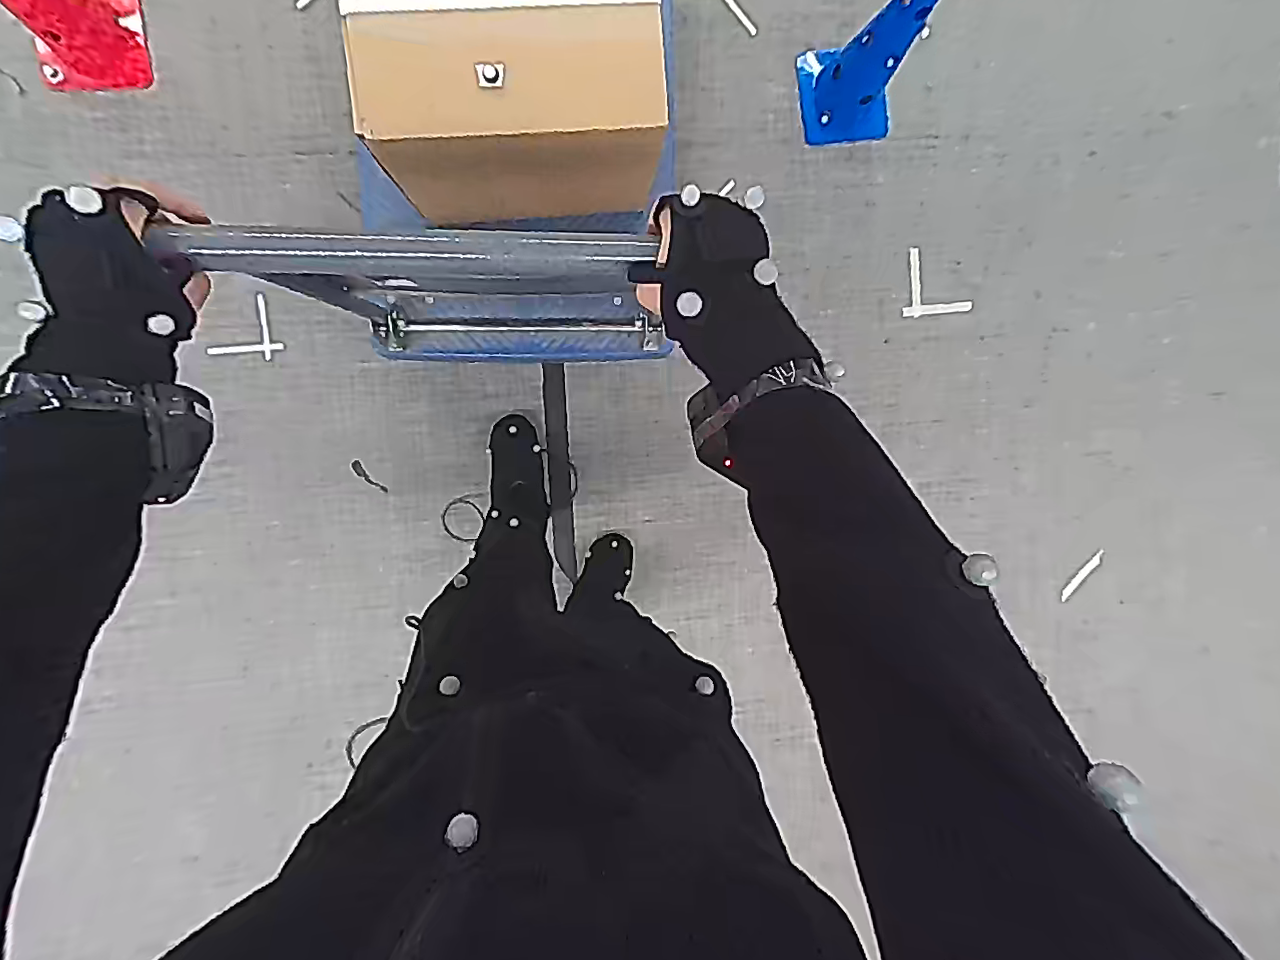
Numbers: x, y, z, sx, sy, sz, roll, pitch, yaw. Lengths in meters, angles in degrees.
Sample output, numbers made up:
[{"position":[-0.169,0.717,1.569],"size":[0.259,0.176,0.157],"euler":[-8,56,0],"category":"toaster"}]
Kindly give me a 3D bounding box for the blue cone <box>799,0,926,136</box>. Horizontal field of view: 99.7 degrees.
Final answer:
[{"position":[0.471,-0.860,1.047],"size":[0.193,0.380,0.192],"euler":[-8,95,-5],"category":"blue cone"}]
